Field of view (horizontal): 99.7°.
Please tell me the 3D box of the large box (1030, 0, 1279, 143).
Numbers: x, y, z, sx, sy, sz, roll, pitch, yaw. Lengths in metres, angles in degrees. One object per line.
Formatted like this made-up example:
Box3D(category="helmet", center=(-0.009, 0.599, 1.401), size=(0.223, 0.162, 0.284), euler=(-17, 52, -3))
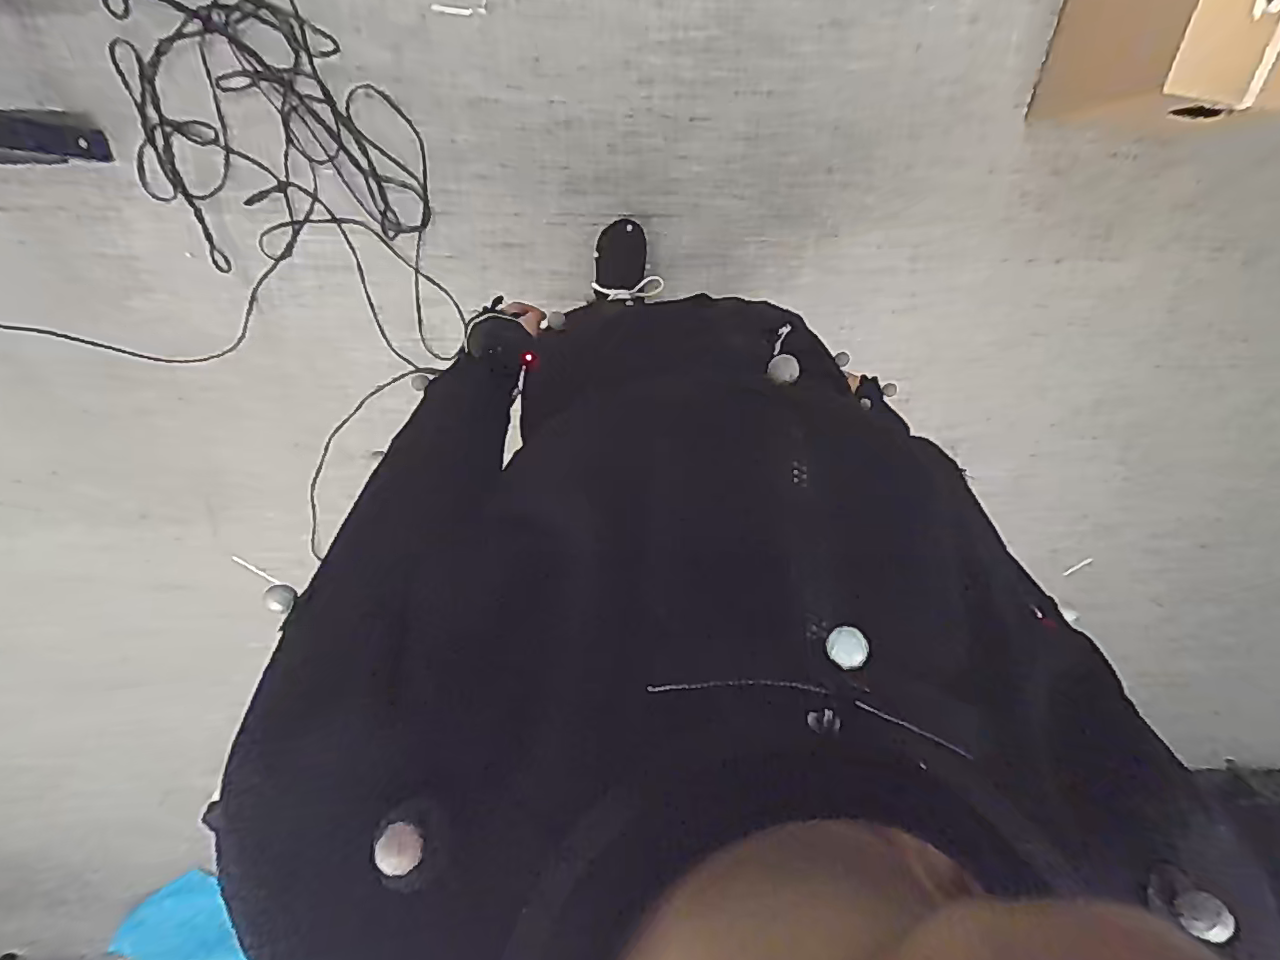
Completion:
Box3D(category="large box", center=(0.994, -0.851, 0.943), size=(0.320, 0.320, 0.408), euler=(2, 116, -5))
